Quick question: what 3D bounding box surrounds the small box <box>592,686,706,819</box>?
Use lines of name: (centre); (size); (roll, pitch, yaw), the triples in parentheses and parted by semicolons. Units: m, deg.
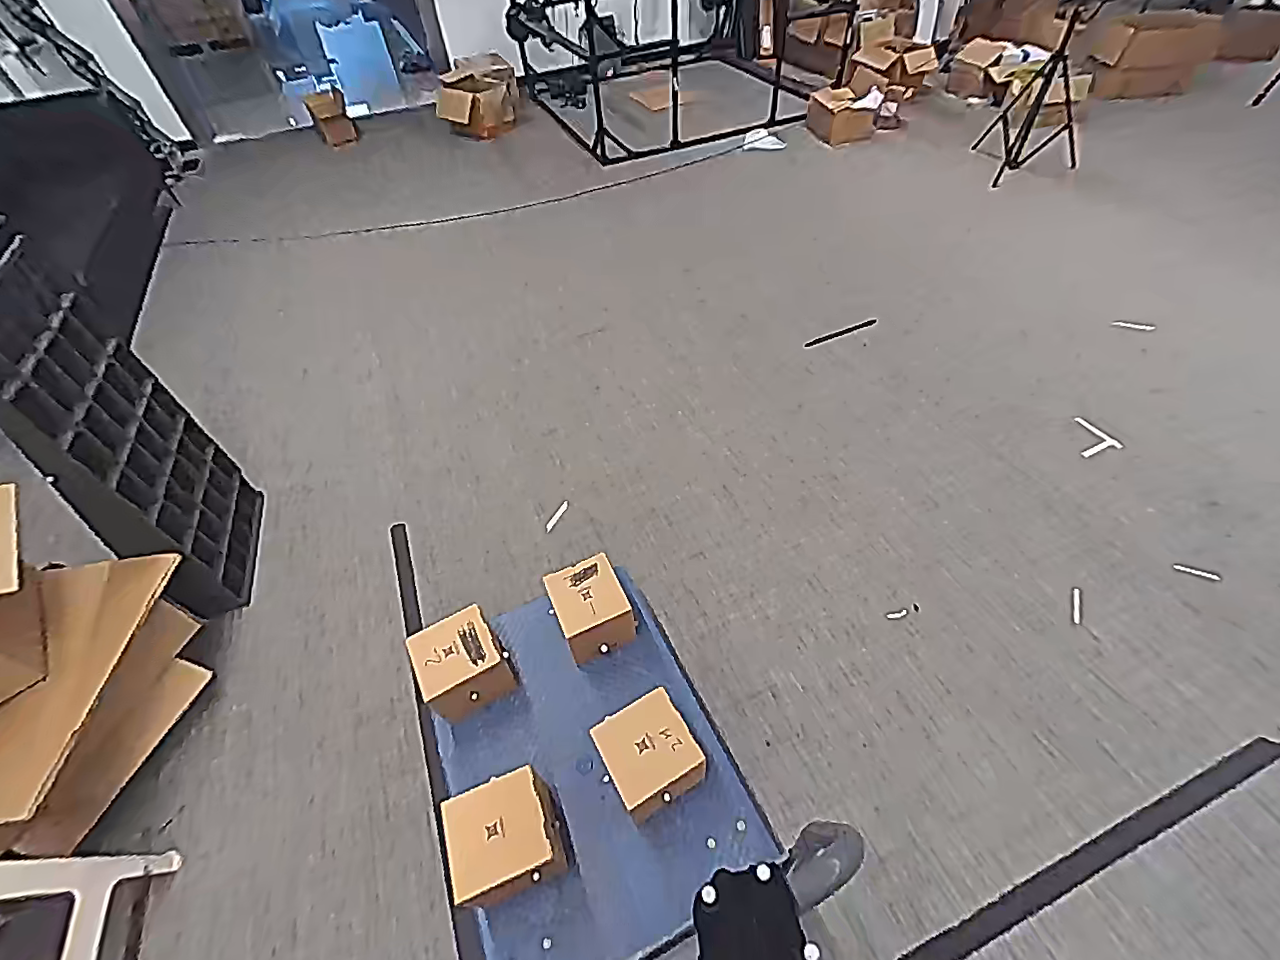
small box: (0.022, 0.566, 1.116); (0.179, 0.176, 0.168); (-25, 53, -16)

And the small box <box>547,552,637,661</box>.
small box: (-0.117, 0.315, 1.338); (0.168, 0.176, 0.179); (-21, 53, -13)

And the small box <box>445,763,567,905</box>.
small box: (-0.254, 0.683, 1.040); (0.179, 0.176, 0.168); (-18, 50, -13)
